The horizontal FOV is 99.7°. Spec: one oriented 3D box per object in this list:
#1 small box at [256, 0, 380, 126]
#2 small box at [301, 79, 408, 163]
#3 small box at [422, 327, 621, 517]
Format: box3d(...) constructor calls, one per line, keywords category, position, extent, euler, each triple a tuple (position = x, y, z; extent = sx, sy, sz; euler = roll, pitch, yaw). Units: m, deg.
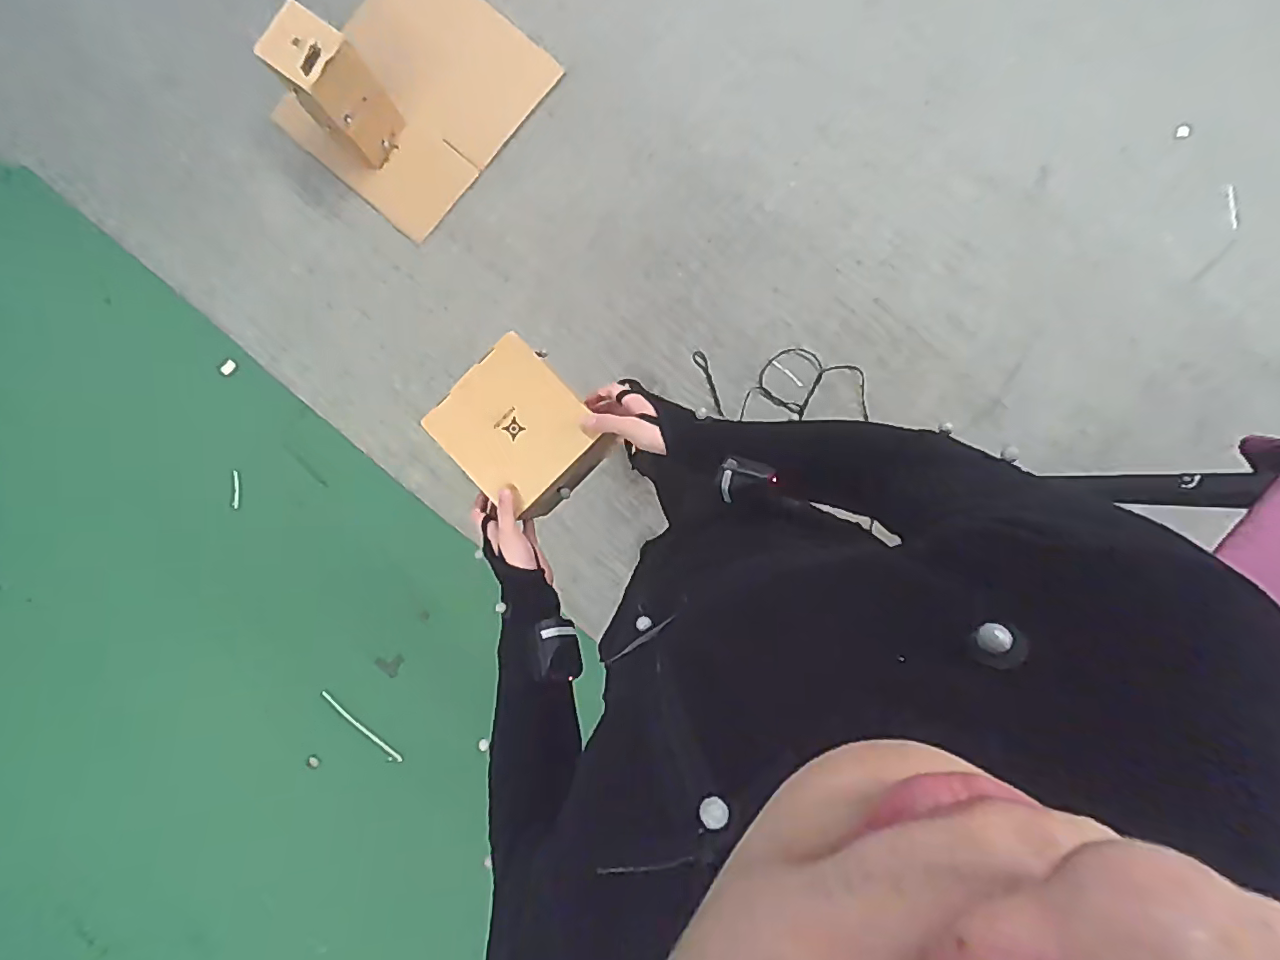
box3d(category="small box", position=(-0.814, -1.059, 1.387), extent=(0.179, 0.176, 0.168), euler=(36, 91, 2))
box3d(category="small box", position=(-0.809, -1.058, 1.551), extent=(0.179, 0.176, 0.168), euler=(33, 91, 1))
box3d(category="small box", position=(-0.146, -0.072, 0.734), extent=(0.168, 0.176, 0.179), euler=(-45, 85, 4))
